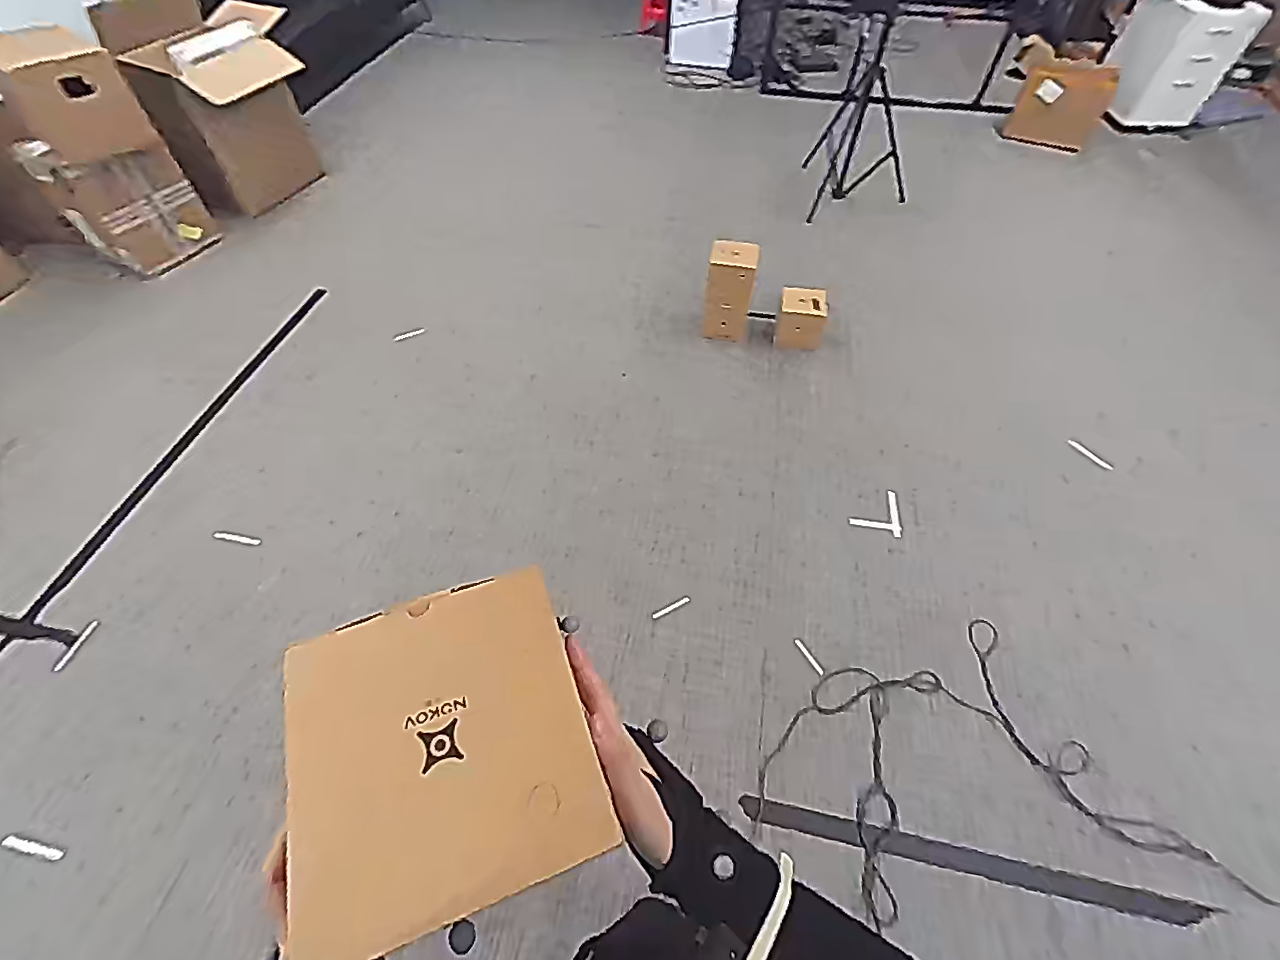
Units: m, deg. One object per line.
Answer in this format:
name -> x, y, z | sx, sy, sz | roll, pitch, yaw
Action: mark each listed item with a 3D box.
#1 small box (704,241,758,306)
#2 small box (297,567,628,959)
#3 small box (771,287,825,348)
small box -> 0.349, -0.795, 2.088 | 0.179, 0.176, 0.168 | 9, 53, 7
small box -> -0.110, 0.193, 0.378 | 0.168, 0.176, 0.179 | -17, 57, -13
small box -> 0.639, -0.653, 2.188 | 0.179, 0.176, 0.168 | 8, 55, 7
